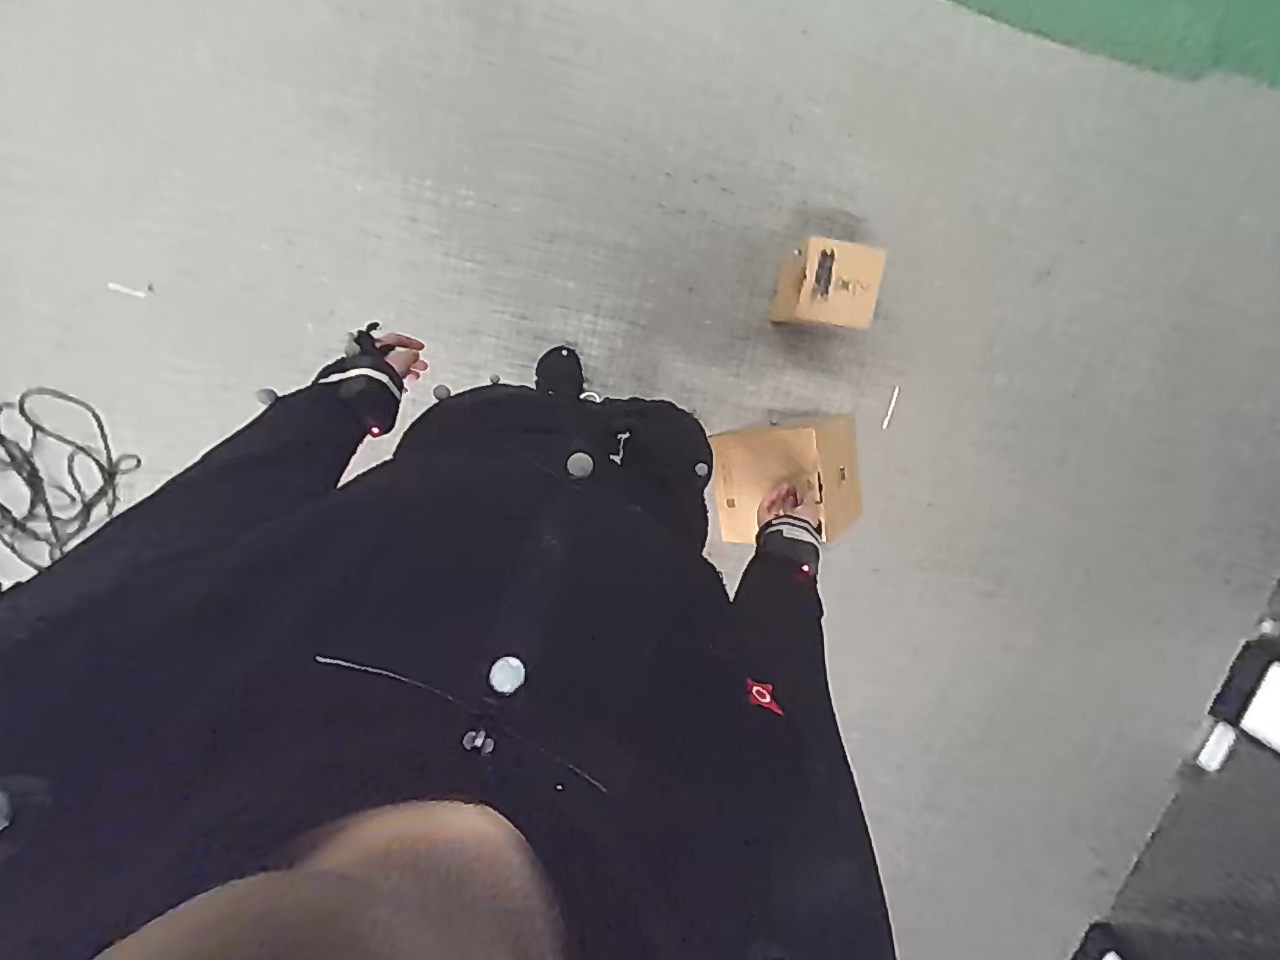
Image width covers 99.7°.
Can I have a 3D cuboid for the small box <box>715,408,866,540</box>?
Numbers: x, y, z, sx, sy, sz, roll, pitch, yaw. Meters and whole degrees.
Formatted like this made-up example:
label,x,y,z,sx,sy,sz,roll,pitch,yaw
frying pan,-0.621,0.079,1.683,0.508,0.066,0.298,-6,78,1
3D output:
label,x,y,z,sx,sy,sz,roll,pitch,yaw
small box,0.225,-0.010,0.825,0.176,0.179,0.168,-3,101,39
